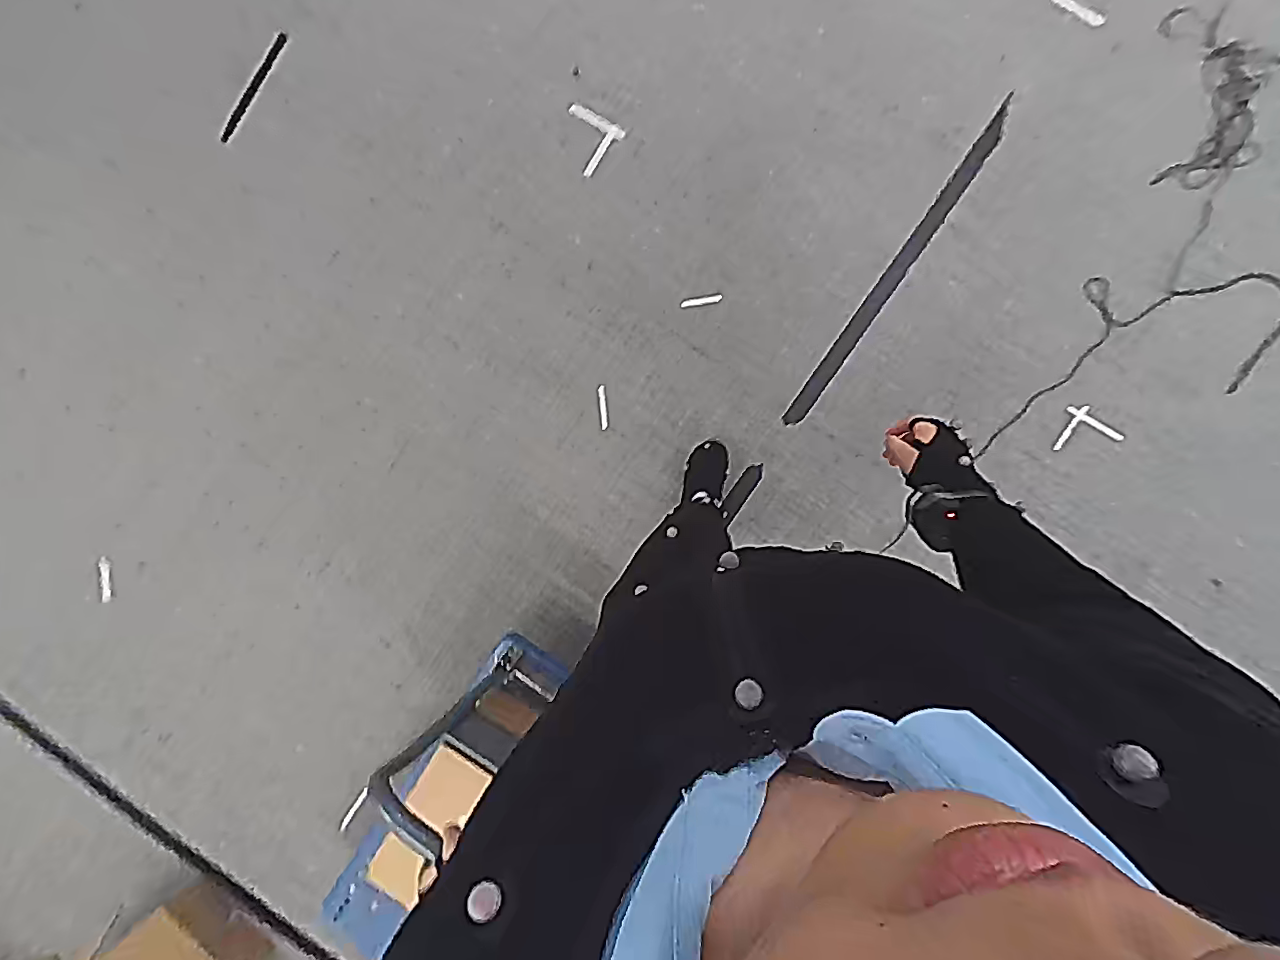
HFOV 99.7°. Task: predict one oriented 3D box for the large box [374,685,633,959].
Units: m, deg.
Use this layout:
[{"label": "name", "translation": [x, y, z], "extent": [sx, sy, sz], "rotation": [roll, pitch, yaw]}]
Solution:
[{"label": "large box", "translation": [-0.270, 0.735, 1.197], "extent": [0.408, 0.320, 0.320], "rotation": [31, 91, 5]}]
